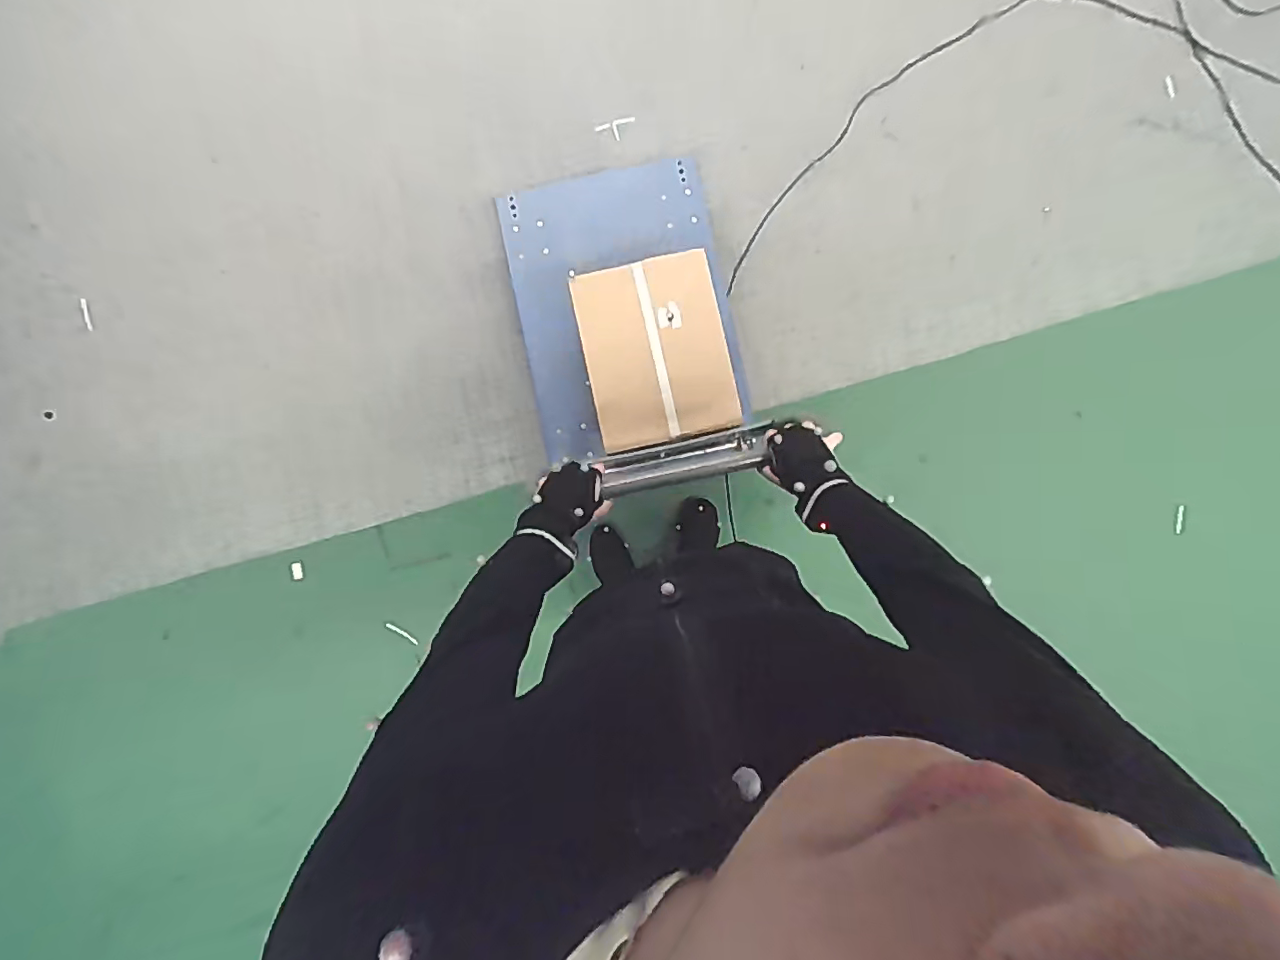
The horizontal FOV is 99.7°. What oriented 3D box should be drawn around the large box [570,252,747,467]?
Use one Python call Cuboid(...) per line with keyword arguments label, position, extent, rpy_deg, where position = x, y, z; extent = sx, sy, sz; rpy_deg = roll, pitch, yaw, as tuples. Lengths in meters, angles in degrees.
Cuboid(label="large box", position=(0.040, -0.268, 1.324), extent=(0.320, 0.320, 0.408), rpy_deg=(-13, 87, -1))
